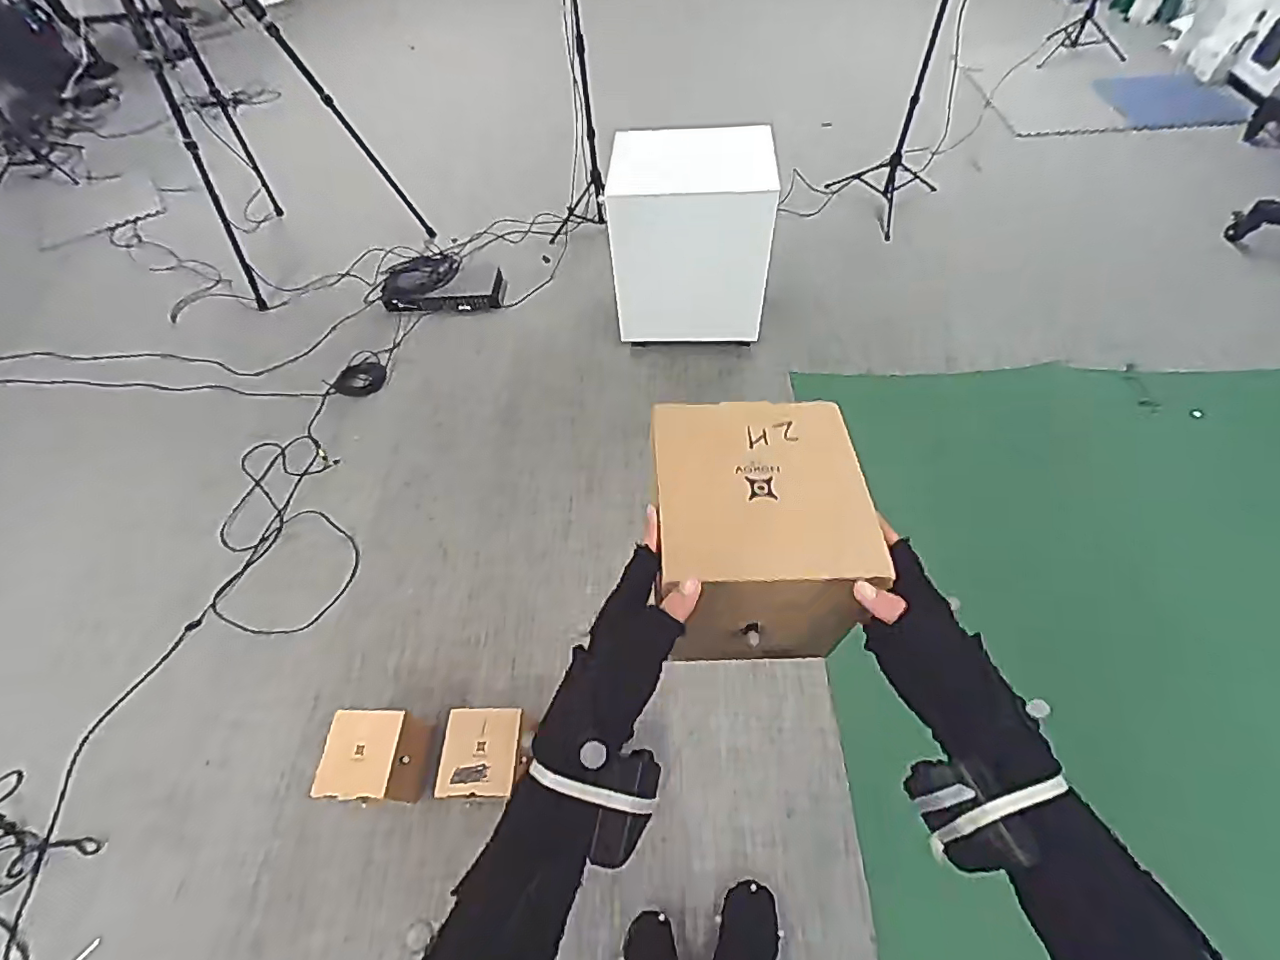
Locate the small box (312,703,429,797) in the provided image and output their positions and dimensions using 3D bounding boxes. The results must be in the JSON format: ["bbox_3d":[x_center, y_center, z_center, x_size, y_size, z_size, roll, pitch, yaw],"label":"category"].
[{"bbox_3d":[-0.615,0.633,1.265,0.168,0.176,0.179,-1,56,4],"label":"small box"}]

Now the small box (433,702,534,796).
[{"bbox_3d":[-0.350,0.623,1.248,0.168,0.176,0.179,-2,55,4],"label":"small box"}]
